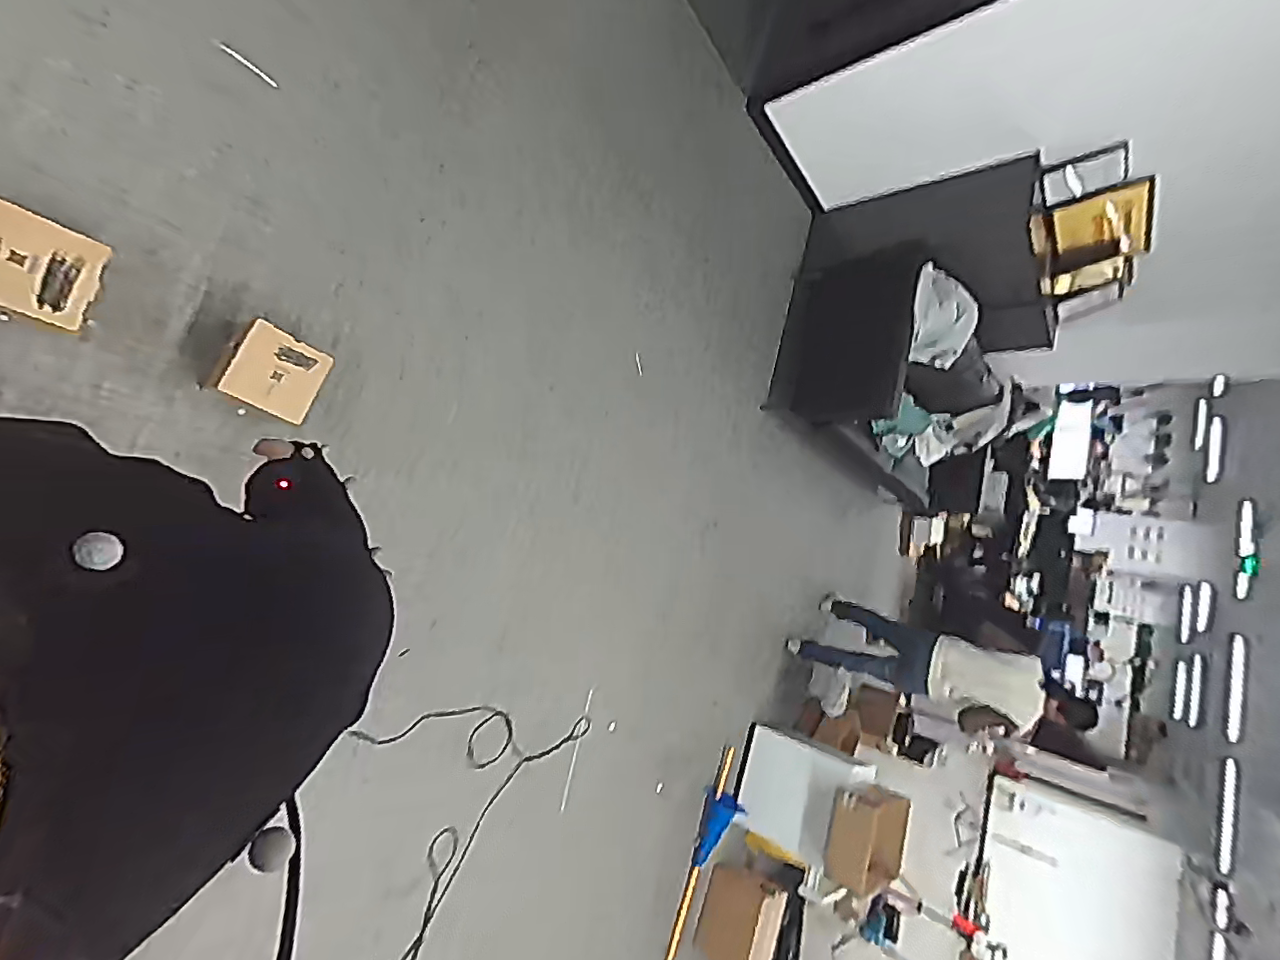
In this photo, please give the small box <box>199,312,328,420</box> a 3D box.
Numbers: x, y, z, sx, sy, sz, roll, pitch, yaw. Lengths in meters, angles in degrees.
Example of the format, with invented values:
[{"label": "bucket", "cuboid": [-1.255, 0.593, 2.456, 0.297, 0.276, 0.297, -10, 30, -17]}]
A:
[{"label": "small box", "cuboid": [-0.850, -0.252, 1.217, 0.168, 0.176, 0.179, 34, 71, -45]}]
